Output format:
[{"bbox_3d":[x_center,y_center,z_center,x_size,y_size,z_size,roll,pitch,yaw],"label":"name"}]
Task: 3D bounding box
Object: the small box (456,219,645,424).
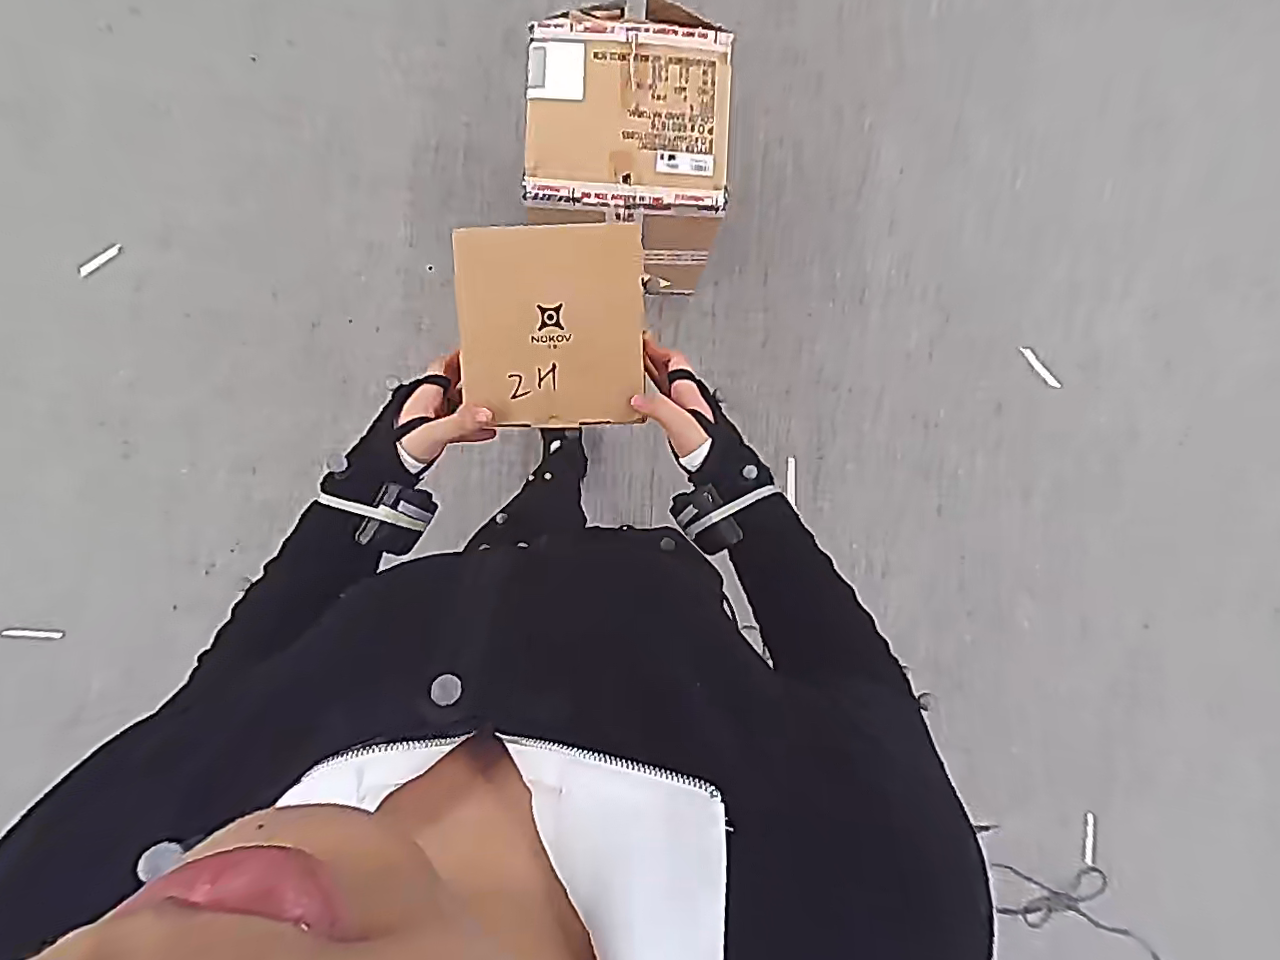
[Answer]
[{"bbox_3d":[-0.080,-0.149,0.562,0.168,0.176,0.179,-1,96,2],"label":"small box"}]
